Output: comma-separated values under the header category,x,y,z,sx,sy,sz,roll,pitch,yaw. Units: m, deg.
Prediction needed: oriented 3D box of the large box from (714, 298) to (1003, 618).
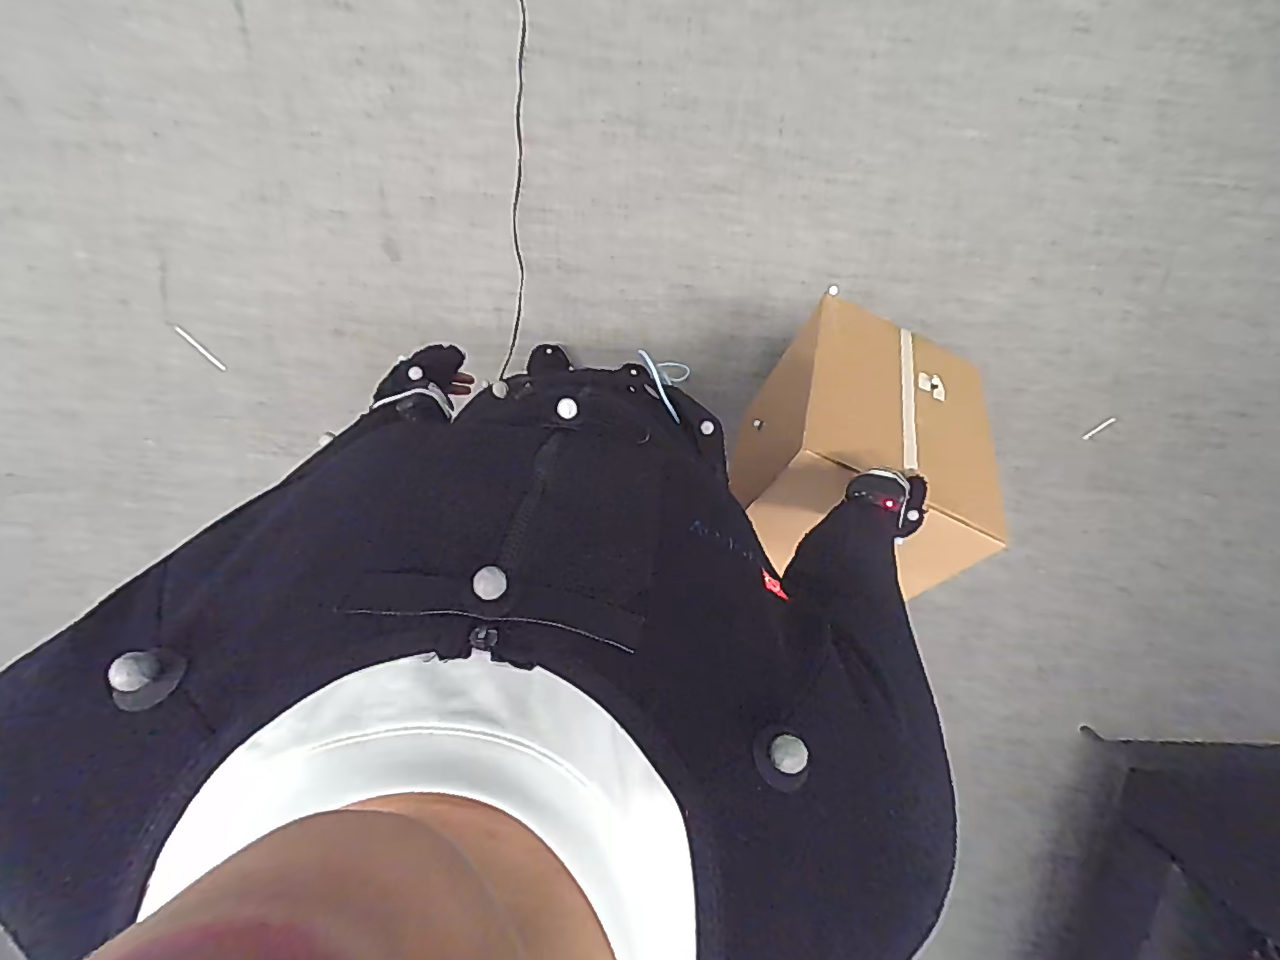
category,x,y,z,sx,sy,sz,roll,pitch,yaw
large box,0.360,-0.035,0.955,0.320,0.408,0.320,26,140,-4
